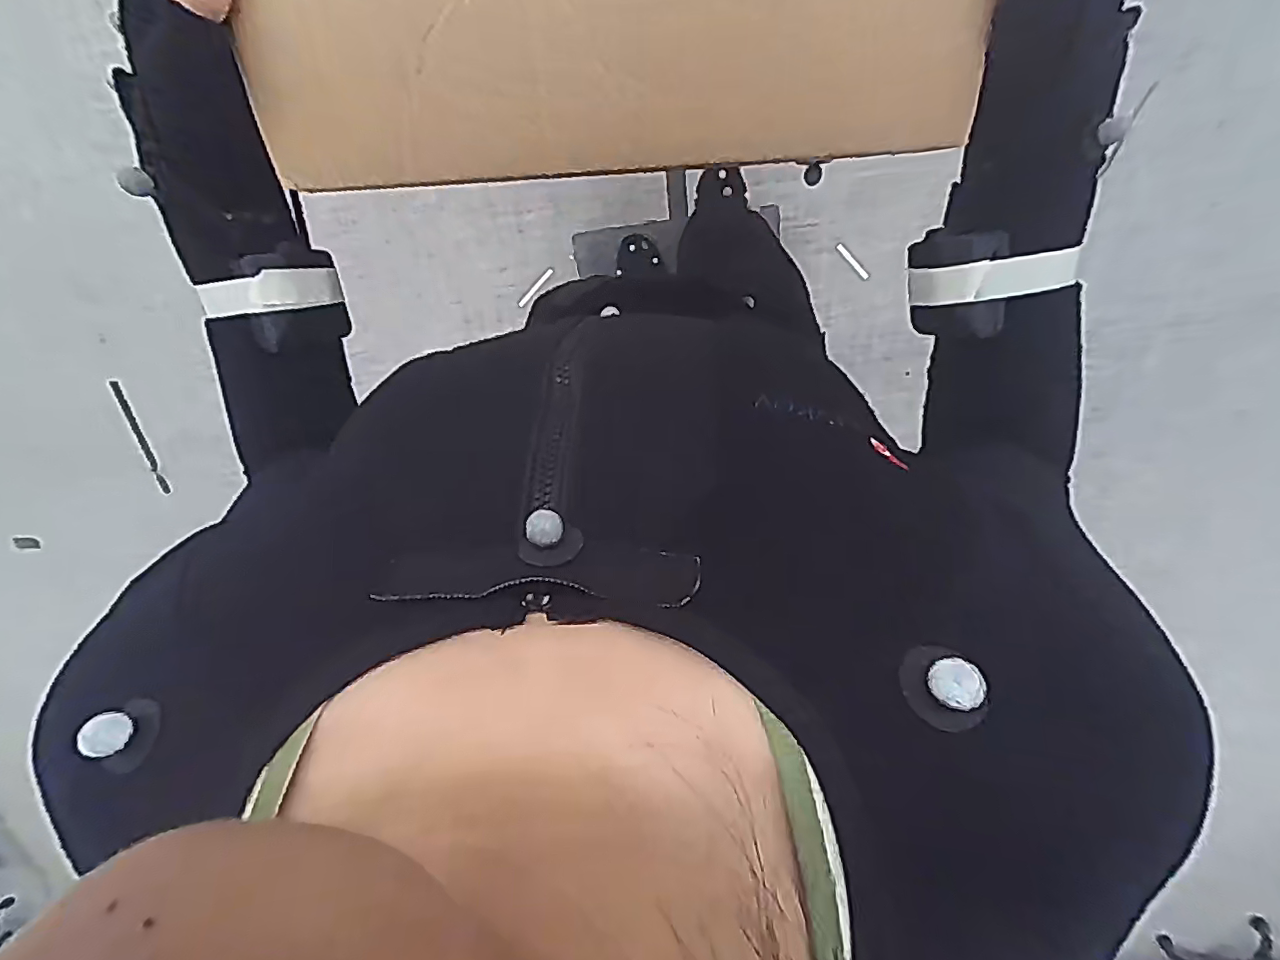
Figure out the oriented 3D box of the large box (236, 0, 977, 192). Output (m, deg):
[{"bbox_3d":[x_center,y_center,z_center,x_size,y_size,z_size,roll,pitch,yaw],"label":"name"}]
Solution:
[{"bbox_3d":[-0.019,-0.399,0.377,0.408,0.320,0.320,-2,120,3],"label":"large box"}]
